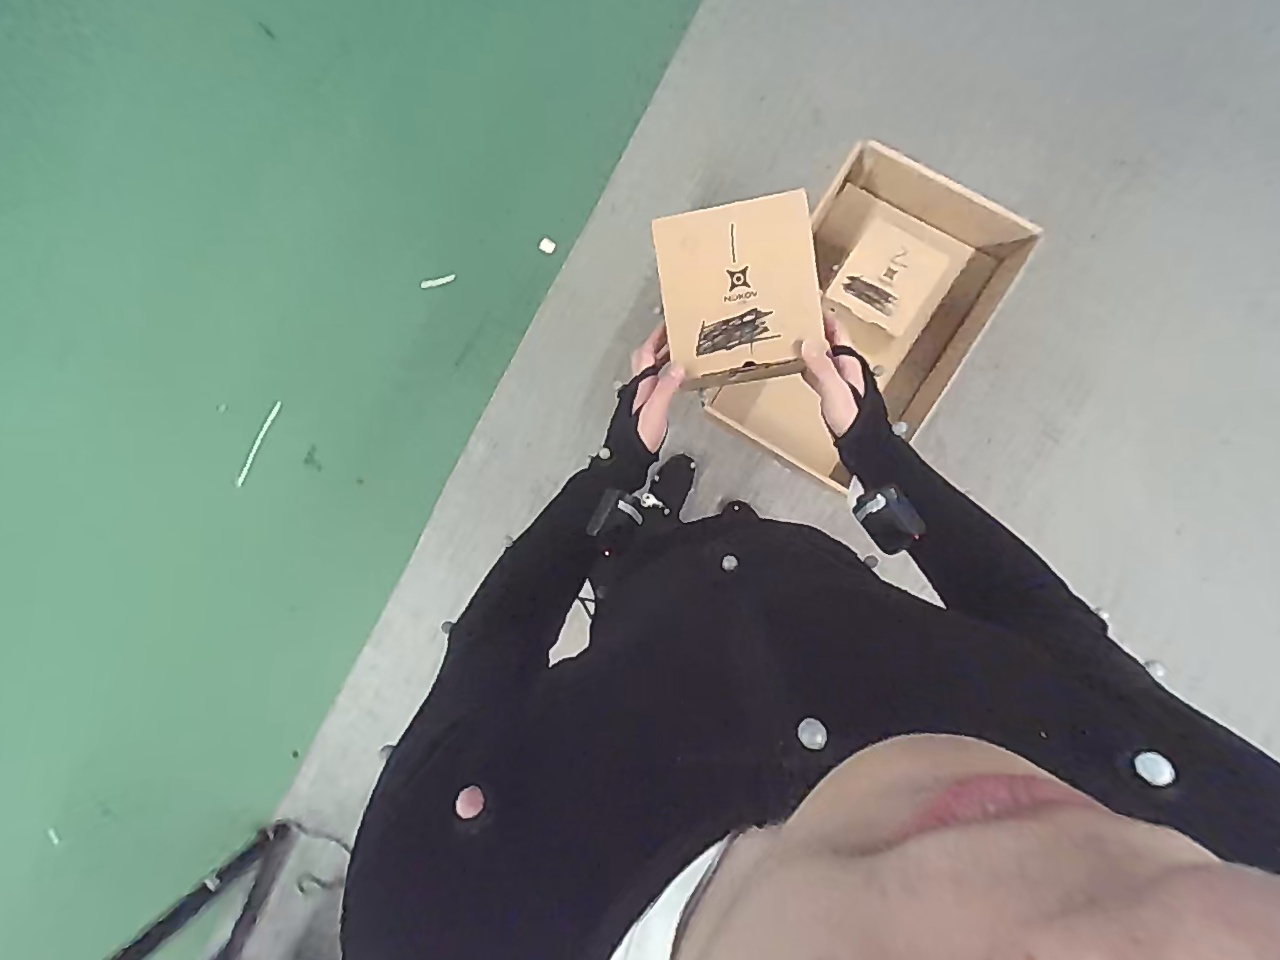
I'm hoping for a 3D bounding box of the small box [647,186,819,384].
[{"bbox_3d":[0.108,-0.215,0.652,0.168,0.176,0.179,-8,93,6],"label":"small box"}]
